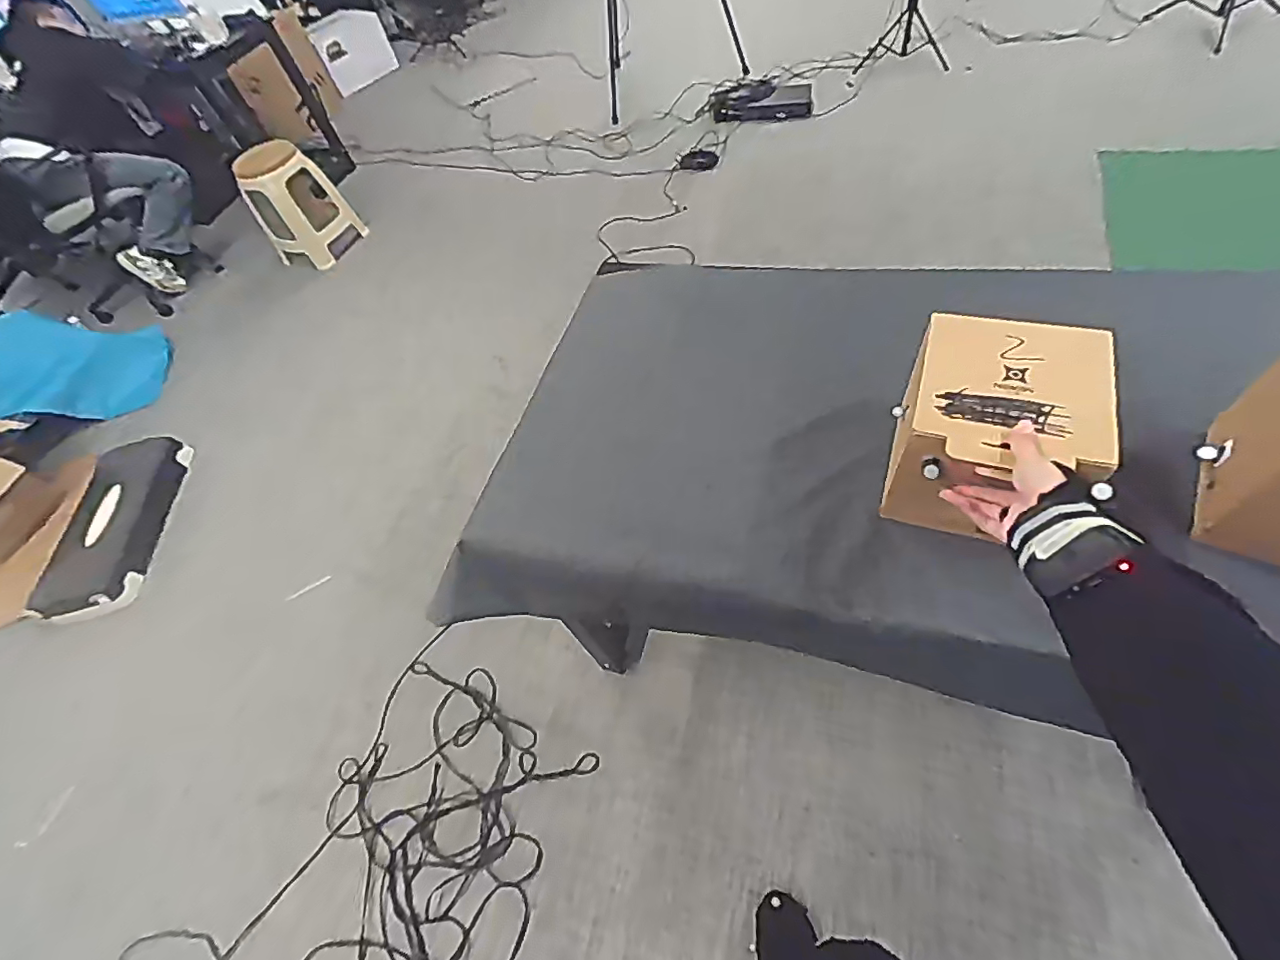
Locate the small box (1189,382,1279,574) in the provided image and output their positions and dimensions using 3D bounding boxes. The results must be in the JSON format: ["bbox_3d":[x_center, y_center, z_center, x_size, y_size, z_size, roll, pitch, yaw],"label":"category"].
[{"bbox_3d":[0.686,-0.003,0.507,0.179,0.176,0.168,23,62,26],"label":"small box"}]
